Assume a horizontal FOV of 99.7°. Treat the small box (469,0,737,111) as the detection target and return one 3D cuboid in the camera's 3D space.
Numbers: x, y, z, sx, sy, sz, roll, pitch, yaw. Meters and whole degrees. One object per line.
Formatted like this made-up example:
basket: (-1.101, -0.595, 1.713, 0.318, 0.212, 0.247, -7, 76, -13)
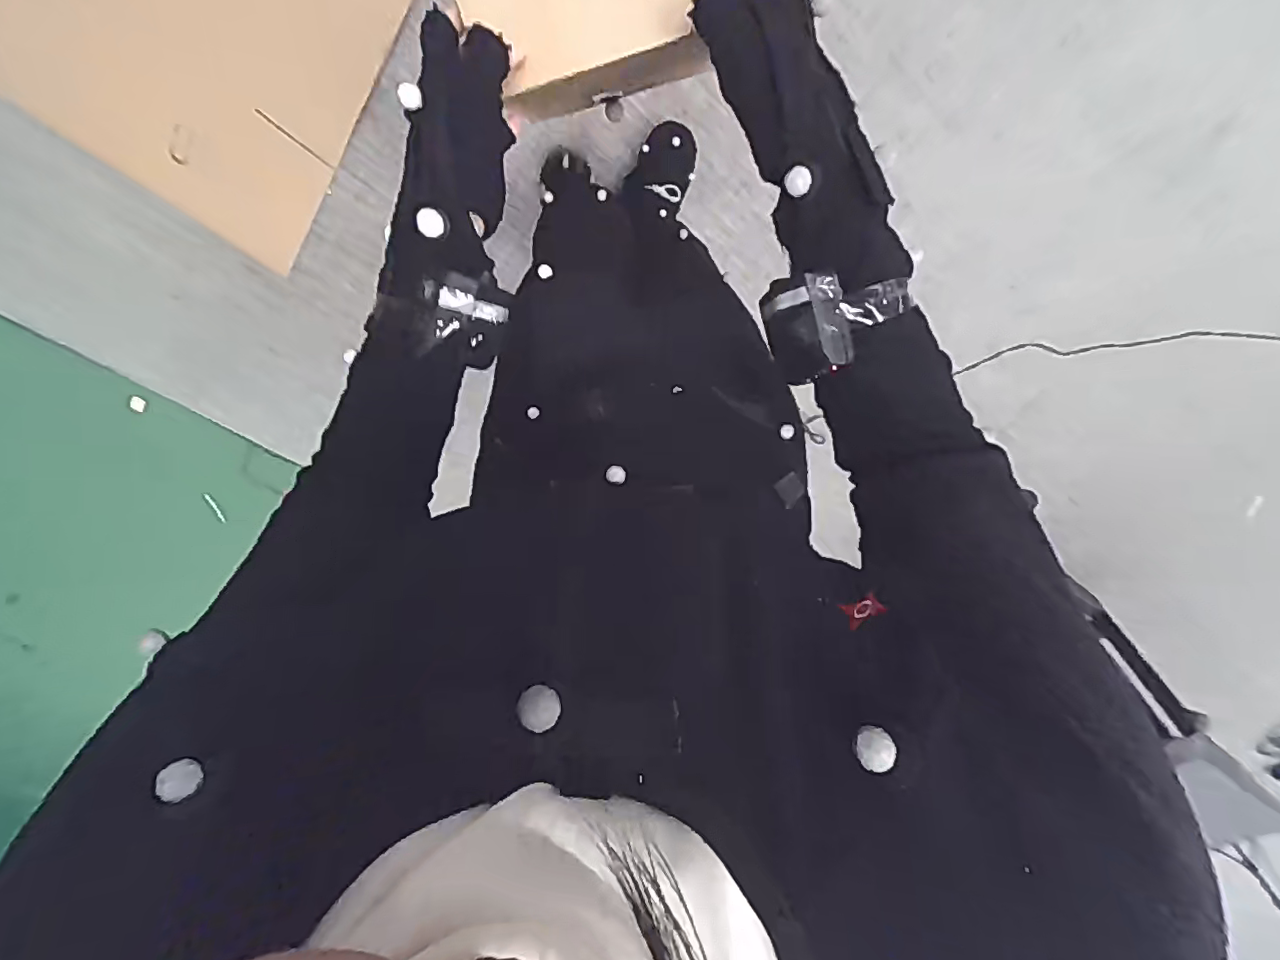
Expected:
small box: (-0.034, -0.389, 0.378, 0.168, 0.176, 0.179, -11, 118, 11)
